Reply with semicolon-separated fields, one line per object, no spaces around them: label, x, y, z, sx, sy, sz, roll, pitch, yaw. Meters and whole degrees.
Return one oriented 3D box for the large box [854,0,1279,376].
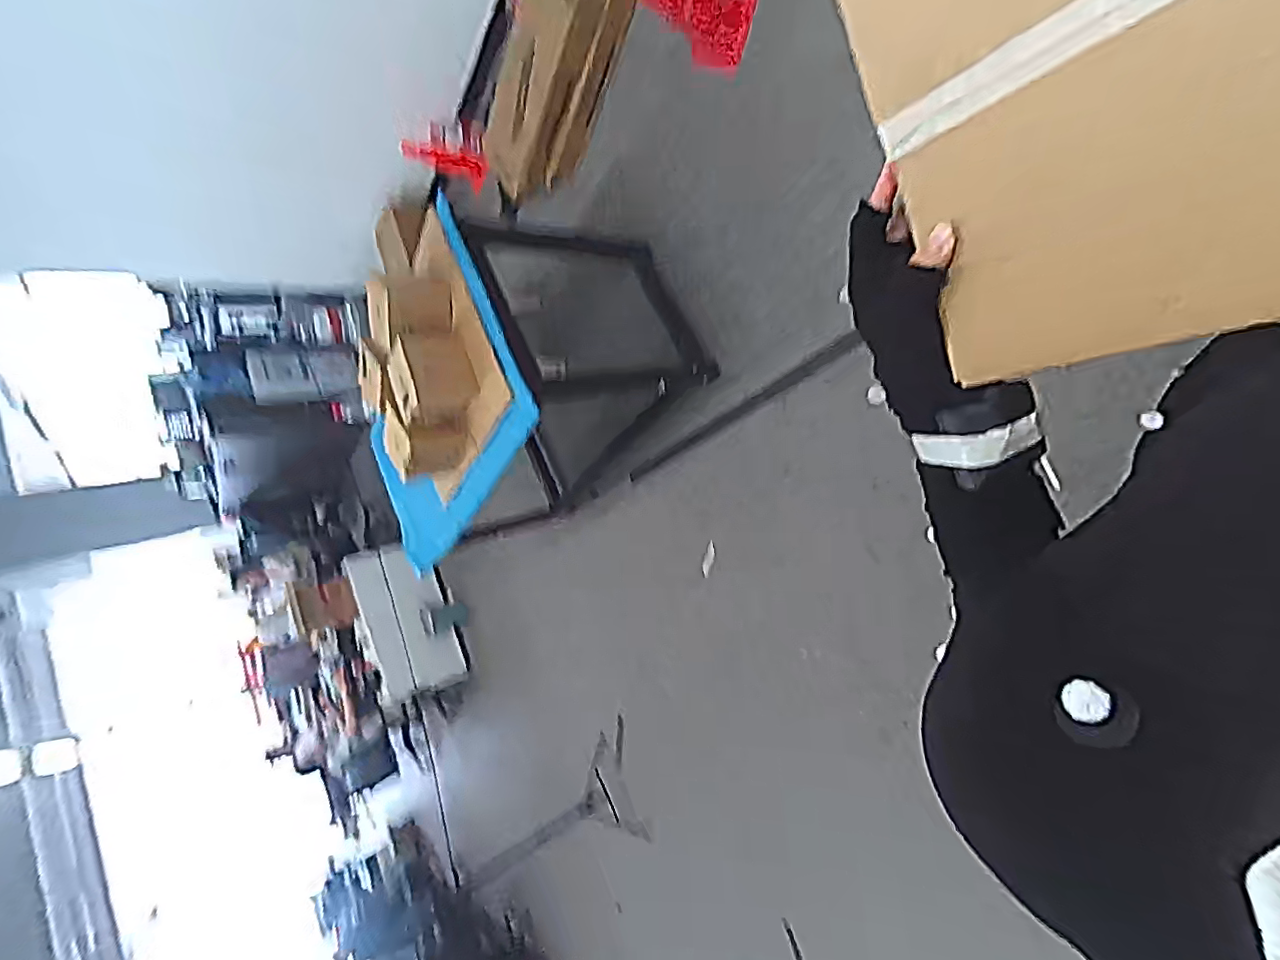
large box;0.380;-0.289;0.269;0.408;0.320;0.320;-9;110;50
